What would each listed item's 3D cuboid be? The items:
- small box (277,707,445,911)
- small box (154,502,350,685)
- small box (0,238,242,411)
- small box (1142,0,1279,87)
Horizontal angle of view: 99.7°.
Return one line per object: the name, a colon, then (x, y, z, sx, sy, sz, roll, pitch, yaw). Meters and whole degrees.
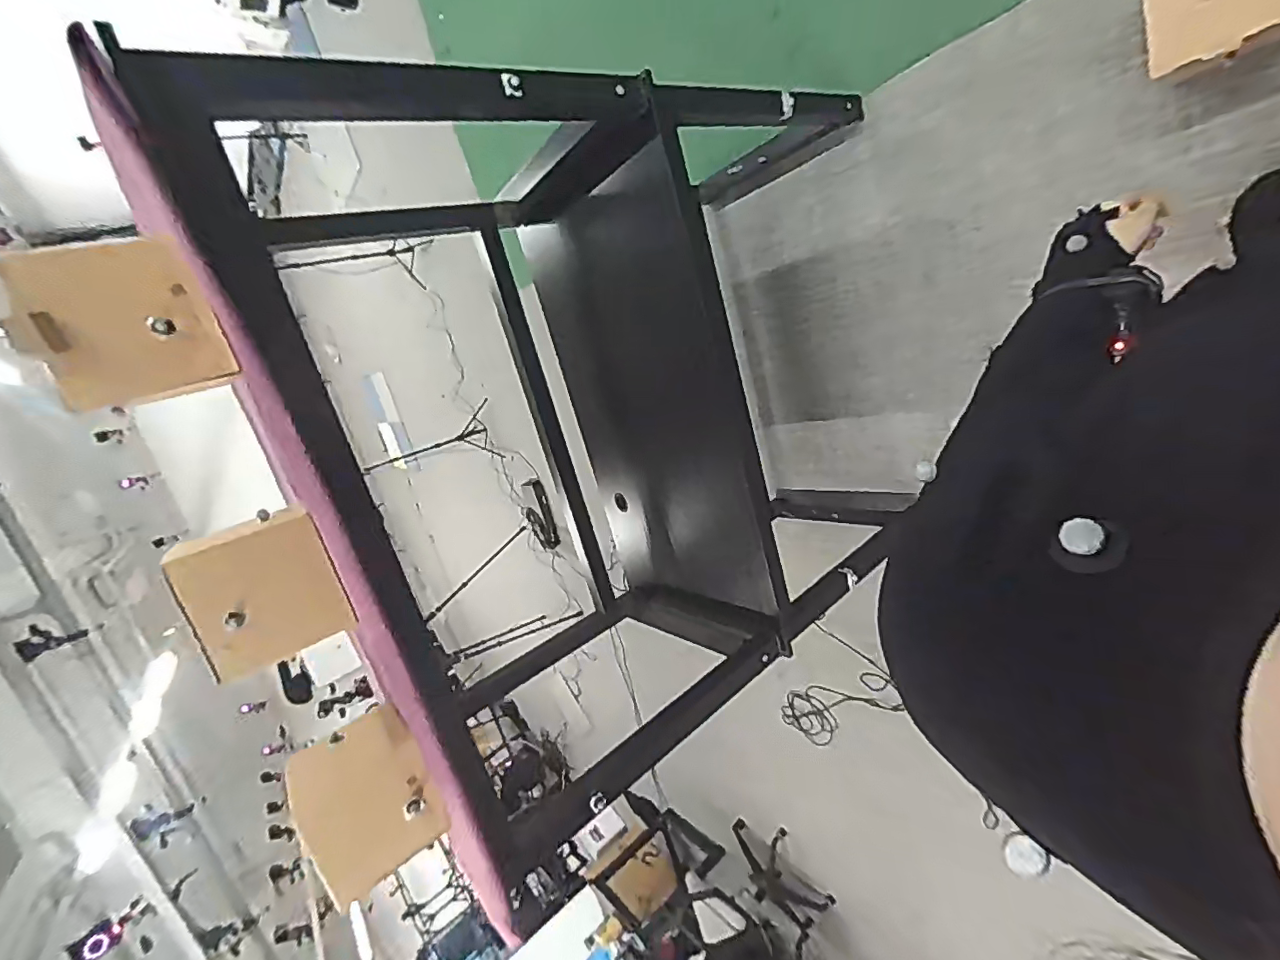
small box: (-0.418, 0.475, 0.817, 0.179, 0.176, 0.168, -4, 108, 53)
small box: (-0.535, 0.148, 0.767, 0.168, 0.176, 0.179, 4, 113, 54)
small box: (-0.628, -0.189, 0.678, 0.179, 0.176, 0.168, 8, 119, 54)
small box: (0.917, -0.753, 0.843, 0.168, 0.176, 0.179, 1, 111, 54)
